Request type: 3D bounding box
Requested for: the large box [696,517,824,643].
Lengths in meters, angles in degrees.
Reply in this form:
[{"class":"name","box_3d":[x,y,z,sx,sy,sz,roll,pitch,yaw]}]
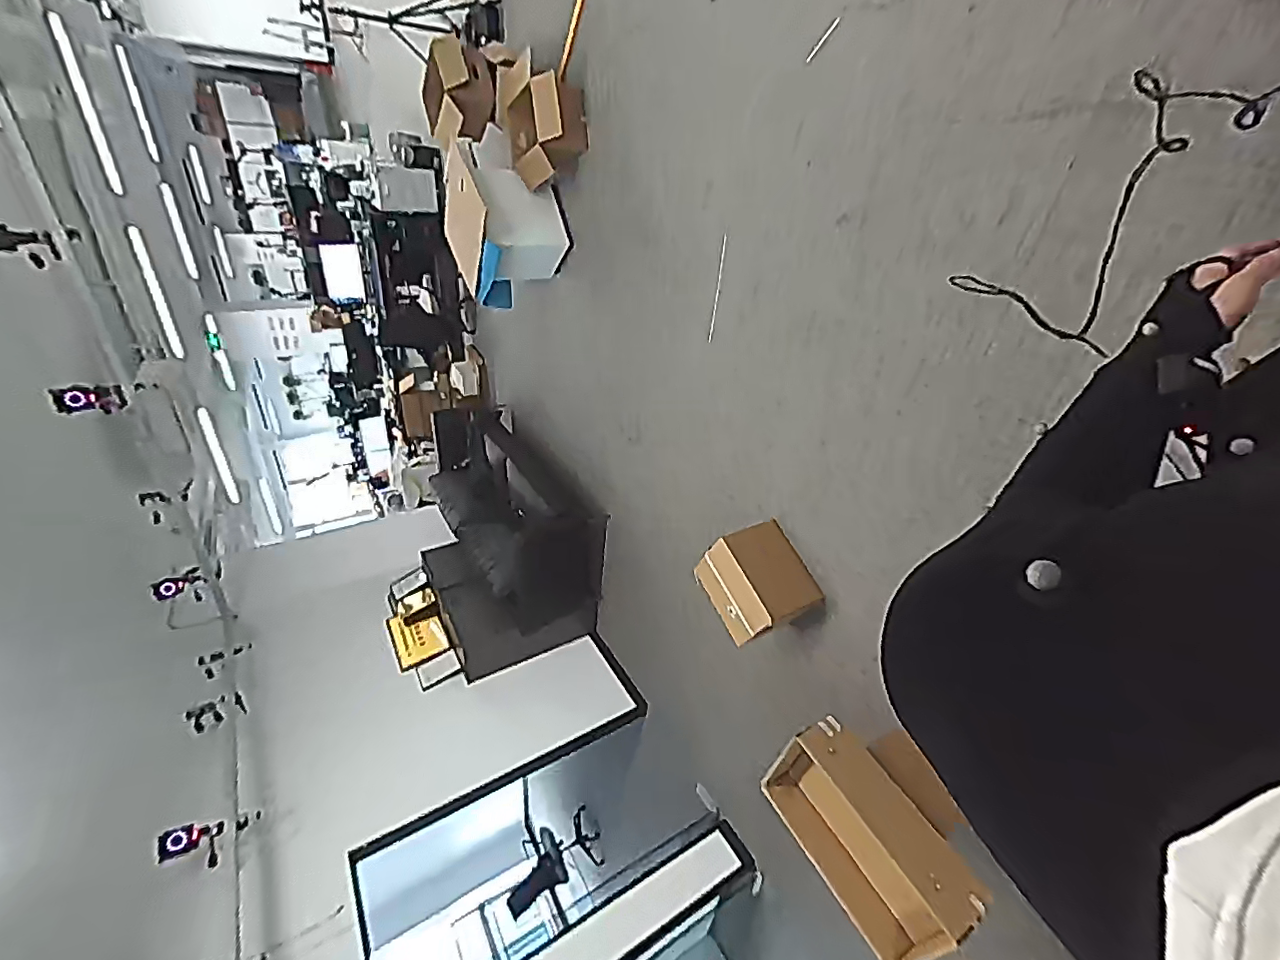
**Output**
[{"class":"large box","box_3d":[0.520,0.434,2.393,0.408,0.320,0.320,59,147,24]}]
